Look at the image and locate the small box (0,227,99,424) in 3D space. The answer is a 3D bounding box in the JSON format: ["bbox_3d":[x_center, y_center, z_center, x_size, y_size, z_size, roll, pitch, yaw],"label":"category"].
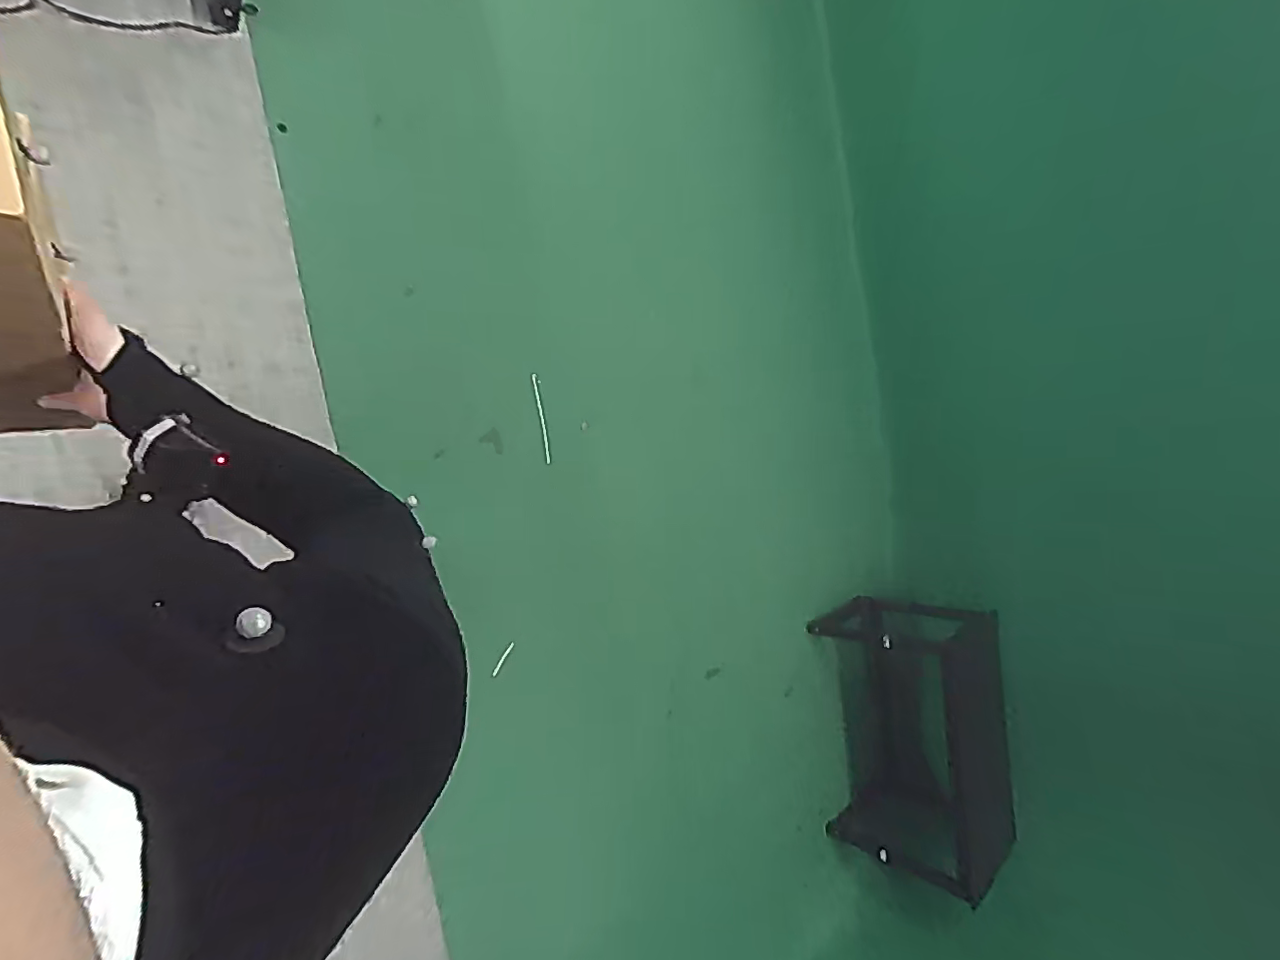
[{"bbox_3d":[-0.682,-0.161,0.548,0.168,0.176,0.179,-10,88,-41],"label":"small box"}]

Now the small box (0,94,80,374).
[{"bbox_3d":[-0.574,-0.190,0.424,0.168,0.176,0.179,-8,85,-42],"label":"small box"}]
